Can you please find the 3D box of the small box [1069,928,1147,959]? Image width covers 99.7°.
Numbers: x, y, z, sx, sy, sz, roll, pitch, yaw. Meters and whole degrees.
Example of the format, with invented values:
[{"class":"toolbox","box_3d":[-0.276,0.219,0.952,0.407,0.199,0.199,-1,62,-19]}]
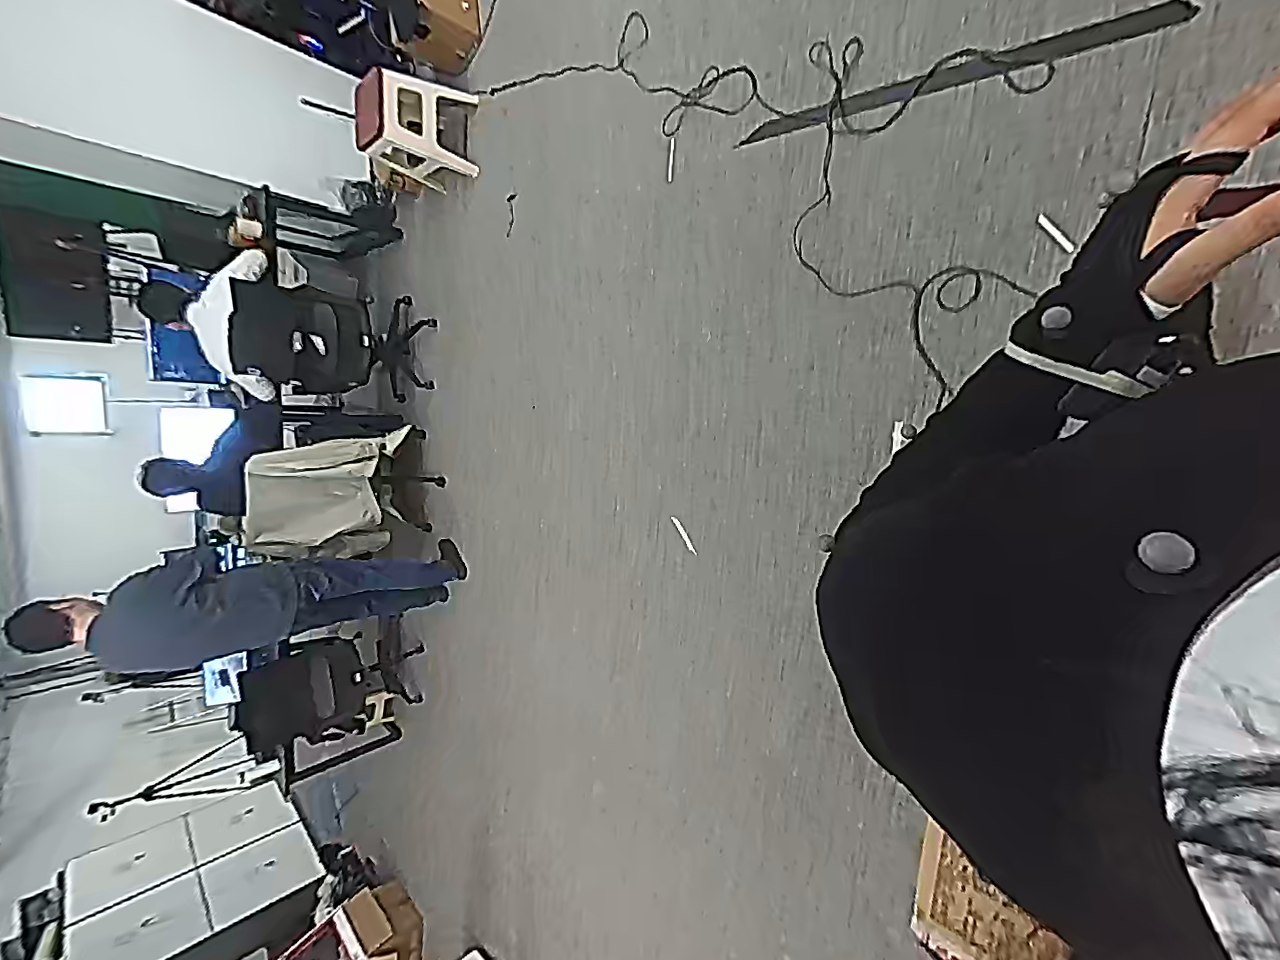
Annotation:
[{"class":"small box","box_3d":[0.682,0.790,0.741,0.168,0.176,0.179,10,100,42]}]
